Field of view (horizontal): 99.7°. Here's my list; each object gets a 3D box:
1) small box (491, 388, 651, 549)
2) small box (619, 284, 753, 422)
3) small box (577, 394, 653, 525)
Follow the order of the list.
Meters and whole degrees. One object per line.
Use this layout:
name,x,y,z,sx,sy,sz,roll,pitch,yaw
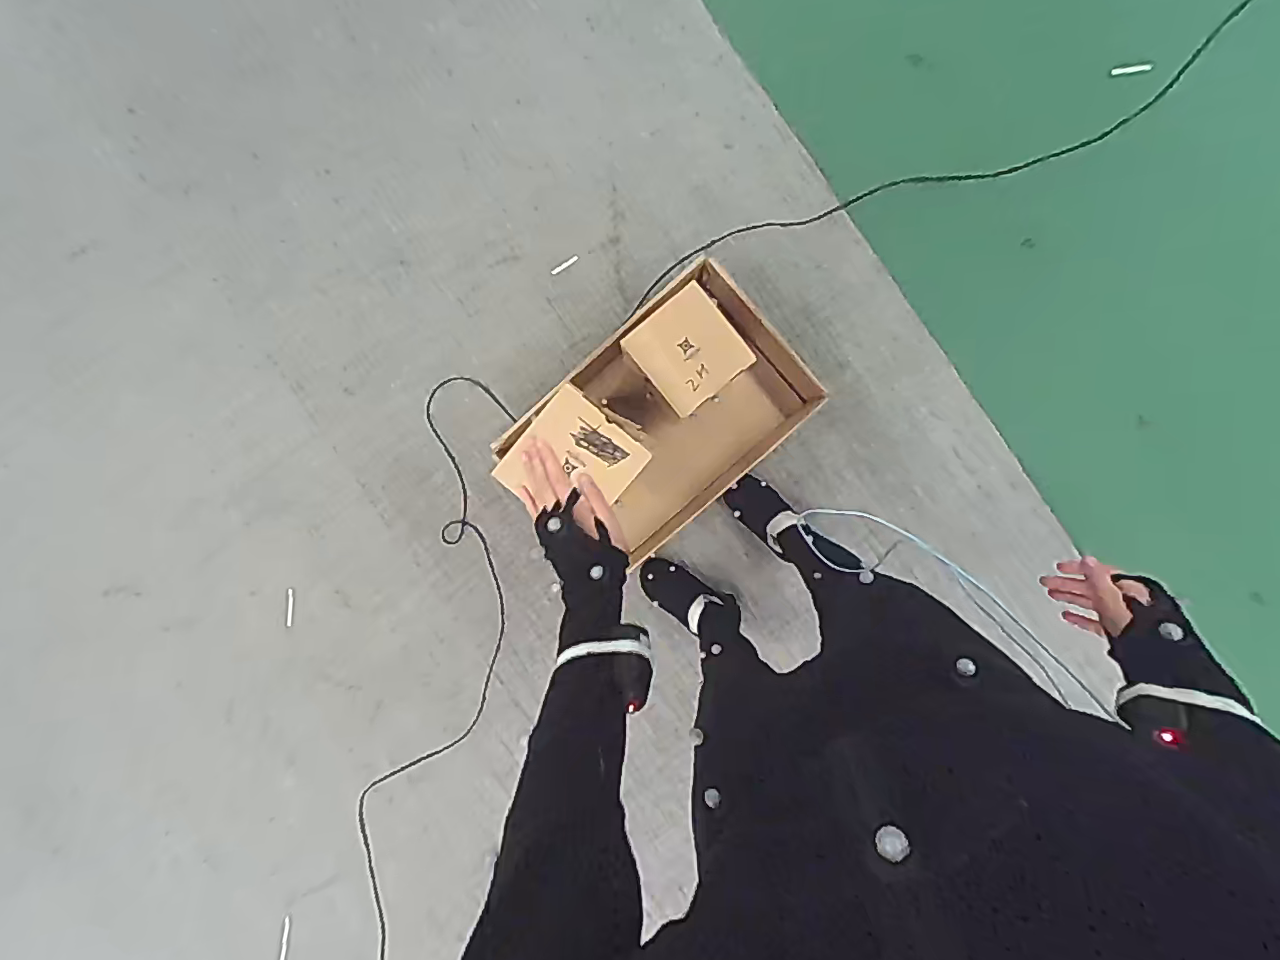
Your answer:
small box,-0.101,-0.021,0.857,0.168,0.176,0.179,40,93,-2
small box,0.080,-0.221,1.001,0.168,0.176,0.179,-39,92,4
small box,-0.093,-0.041,1.021,0.168,0.176,0.179,33,93,-2
